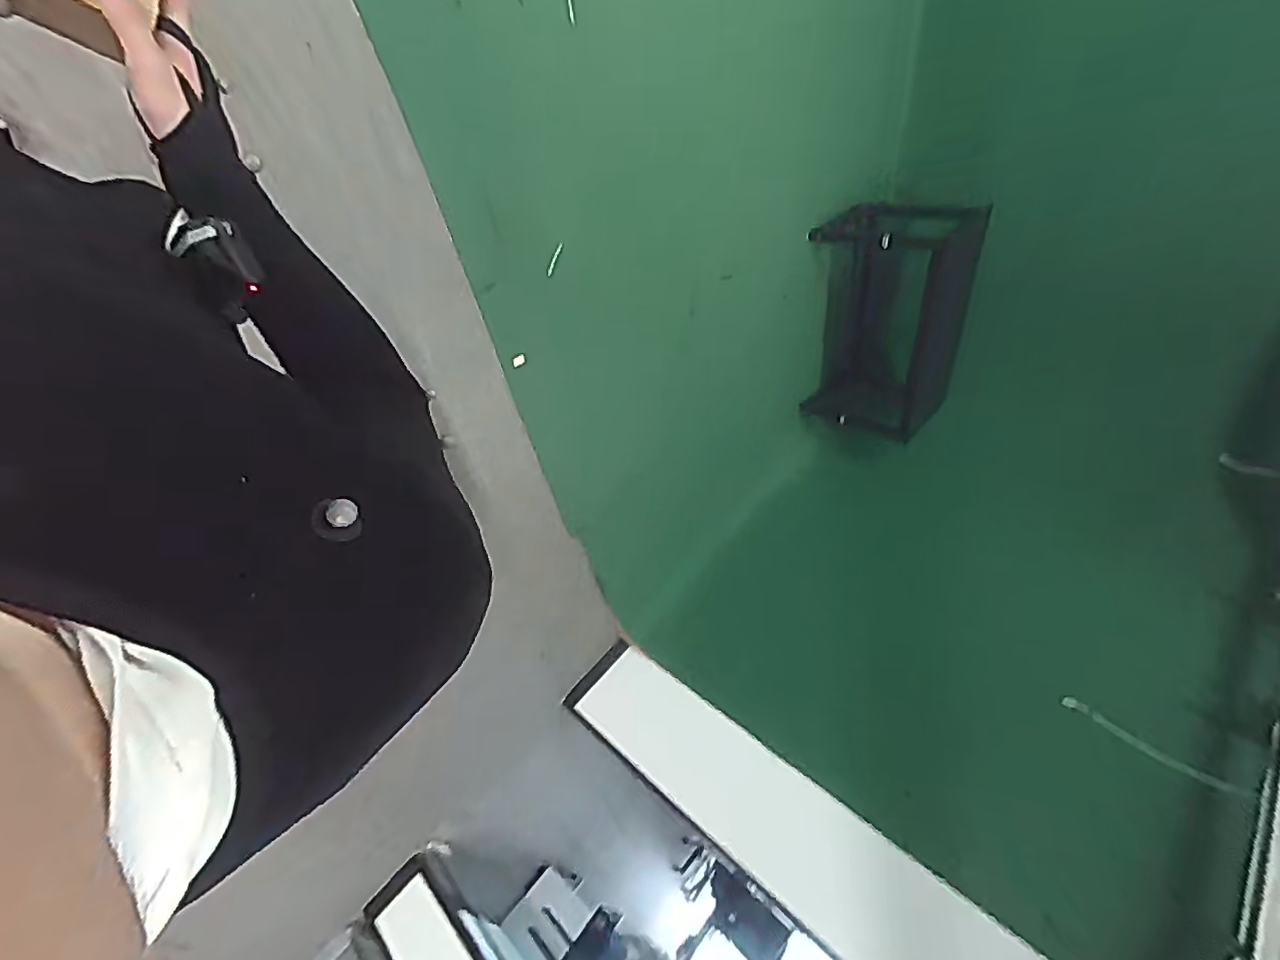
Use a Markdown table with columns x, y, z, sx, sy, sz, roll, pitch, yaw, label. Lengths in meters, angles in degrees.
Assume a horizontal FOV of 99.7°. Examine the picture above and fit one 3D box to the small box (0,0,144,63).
| x | y | z | sx | sy | sz | roll | pitch | yaw | label |
| --- | --- | --- | --- | --- | --- | --- | --- | --- | --- |
| -0.463 | -0.444 | 0.388 | 0.168 | 0.176 | 0.179 | 5 | 108 | -48 | small box |
